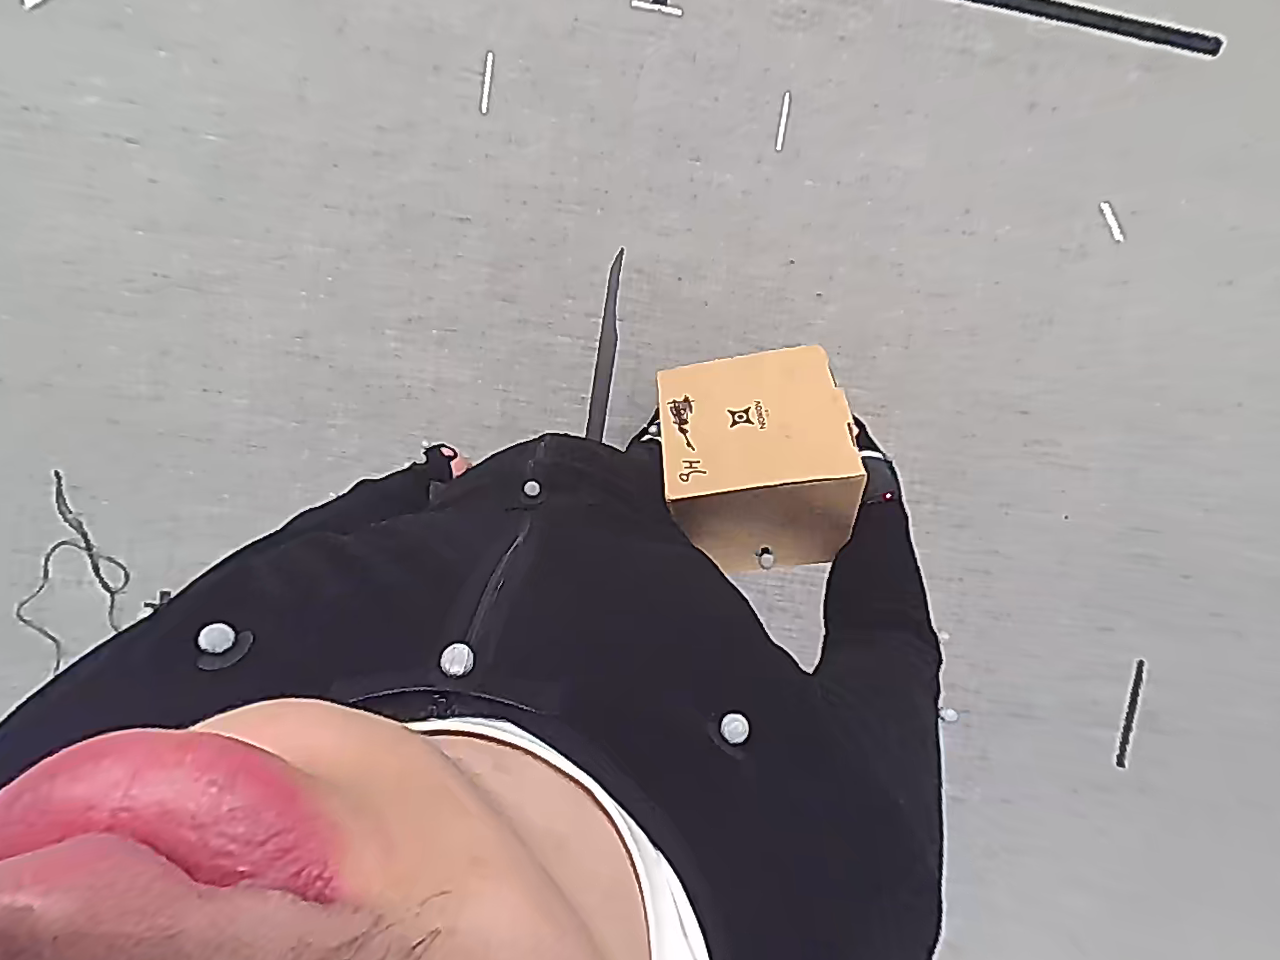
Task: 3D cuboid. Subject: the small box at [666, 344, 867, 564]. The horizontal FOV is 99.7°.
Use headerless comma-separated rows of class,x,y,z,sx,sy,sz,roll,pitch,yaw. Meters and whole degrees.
small box,0.128,-0.021,0.596,0.179,0.176,0.168,-8,54,8
